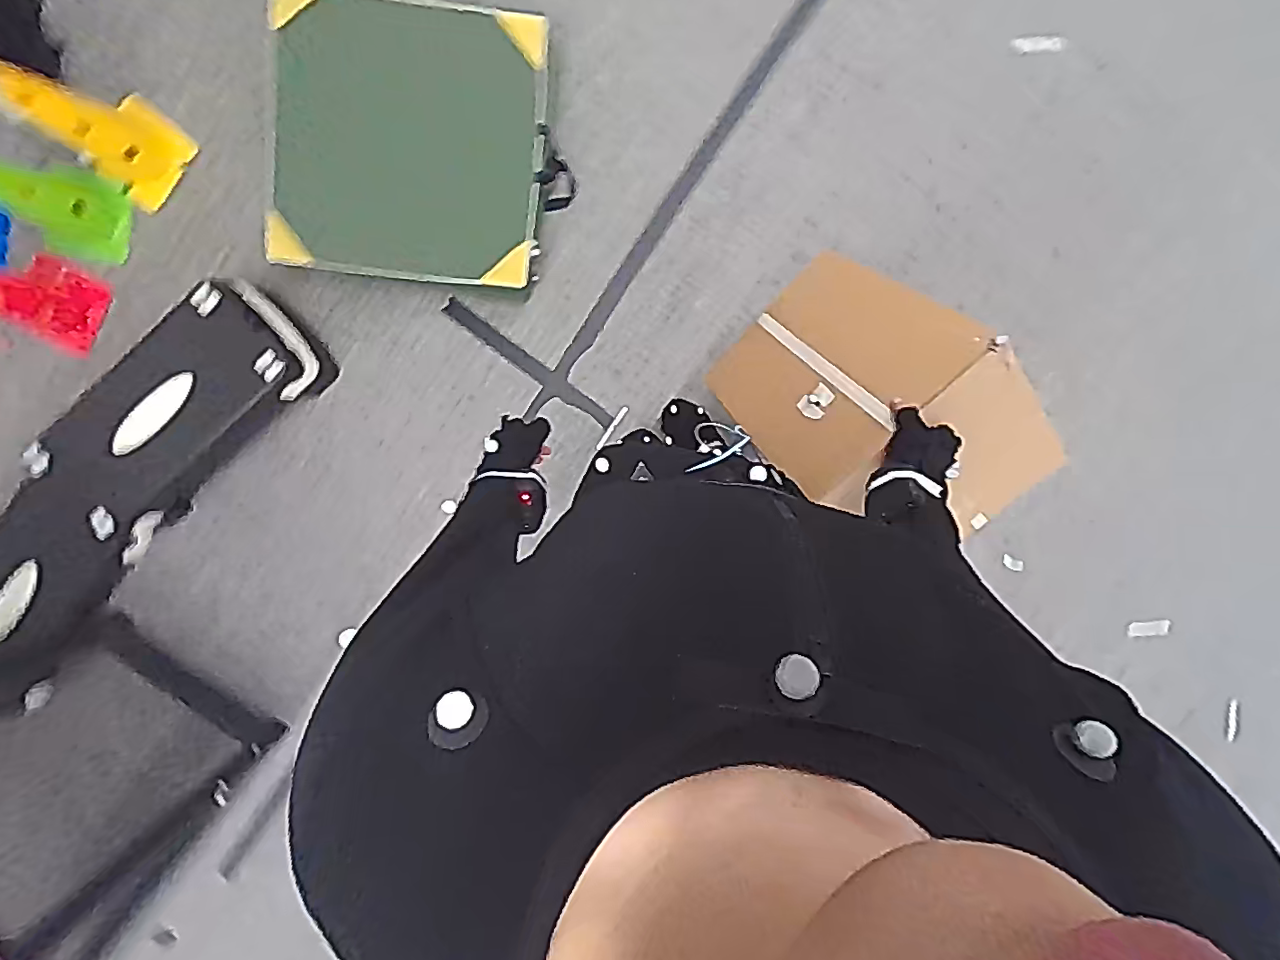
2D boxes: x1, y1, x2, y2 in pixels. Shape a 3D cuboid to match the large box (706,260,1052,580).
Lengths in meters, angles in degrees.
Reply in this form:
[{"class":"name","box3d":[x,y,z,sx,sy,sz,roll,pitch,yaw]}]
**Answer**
[{"class":"large box","box3d":[0.383,-0.108,0.935,0.320,0.408,0.320,32,112,-36]}]
